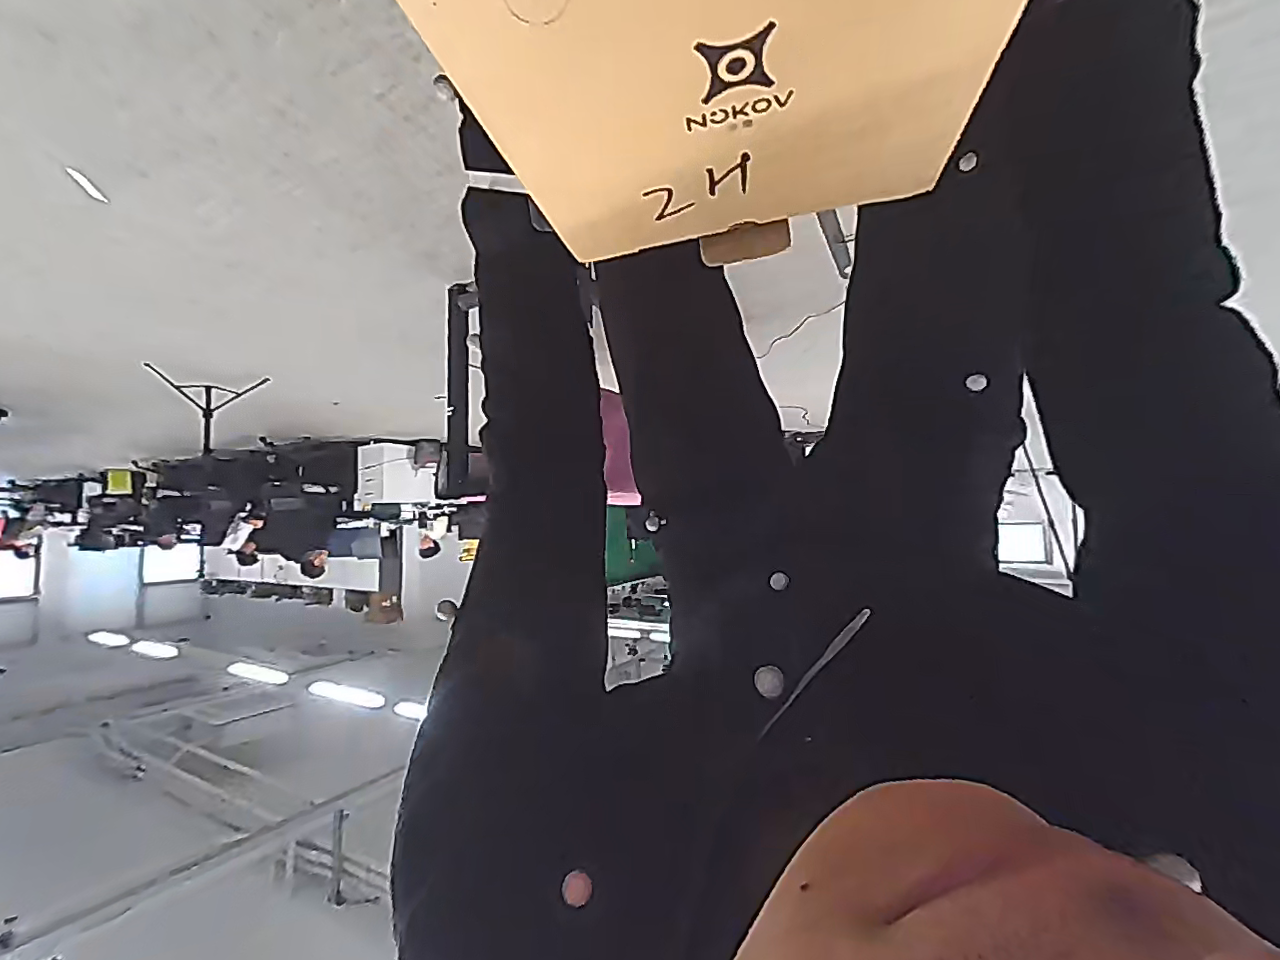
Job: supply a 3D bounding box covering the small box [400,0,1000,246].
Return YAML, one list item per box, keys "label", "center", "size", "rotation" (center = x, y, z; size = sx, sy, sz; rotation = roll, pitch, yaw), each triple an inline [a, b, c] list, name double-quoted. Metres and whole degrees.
- label: "small box"
  center: [0.016, -0.212, 0.176]
  size: [0.168, 0.176, 0.179]
  rotation: [-7, 175, 12]
